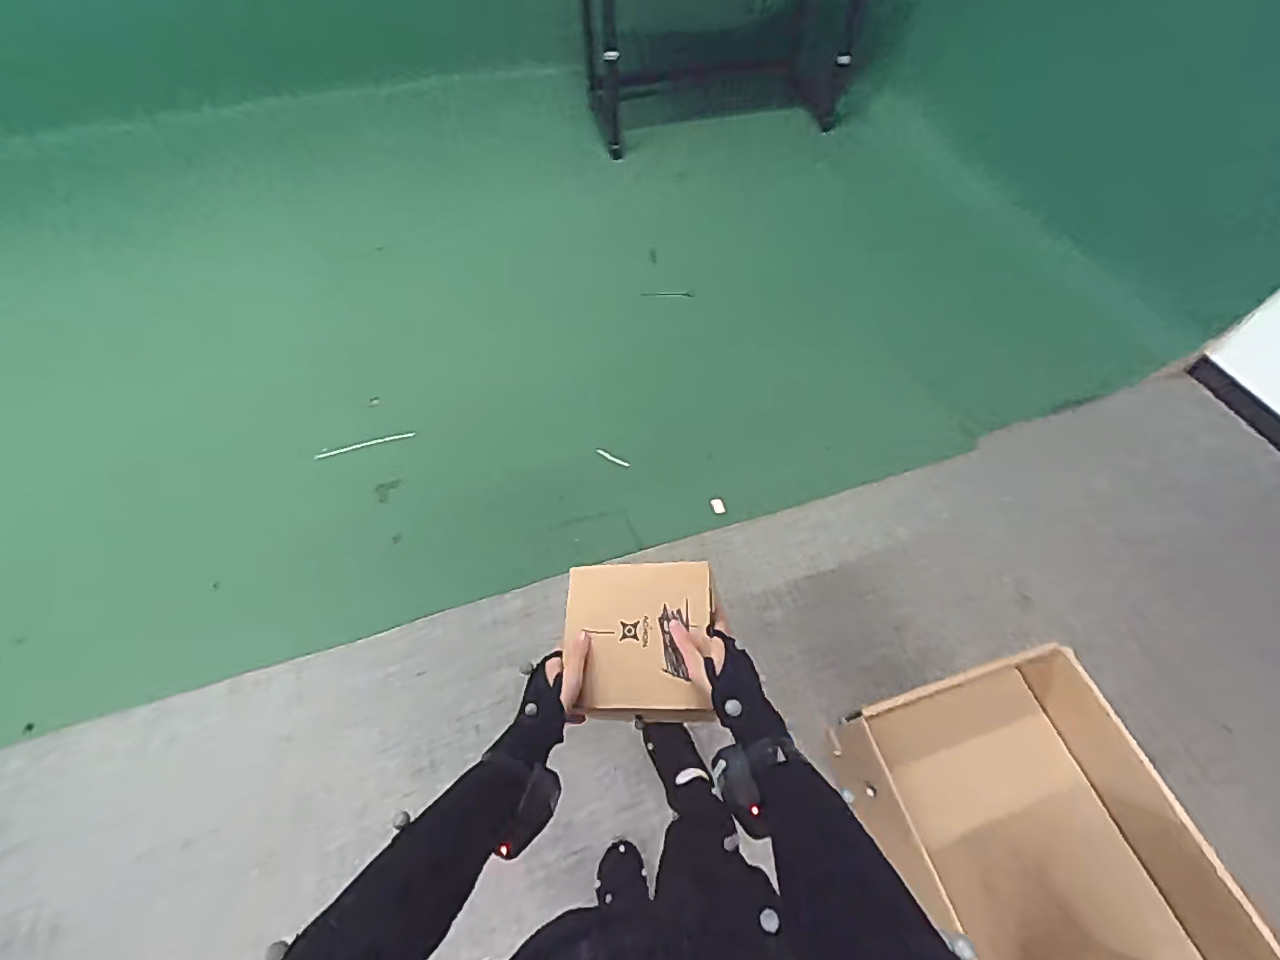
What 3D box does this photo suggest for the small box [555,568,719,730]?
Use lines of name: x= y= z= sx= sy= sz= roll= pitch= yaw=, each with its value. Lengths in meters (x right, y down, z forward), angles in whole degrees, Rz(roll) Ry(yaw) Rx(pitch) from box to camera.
small box: x=0.008 y=0.218 z=0.684 sx=0.179 sy=0.176 sz=0.168 roll=-5 pitch=60 yaw=11
